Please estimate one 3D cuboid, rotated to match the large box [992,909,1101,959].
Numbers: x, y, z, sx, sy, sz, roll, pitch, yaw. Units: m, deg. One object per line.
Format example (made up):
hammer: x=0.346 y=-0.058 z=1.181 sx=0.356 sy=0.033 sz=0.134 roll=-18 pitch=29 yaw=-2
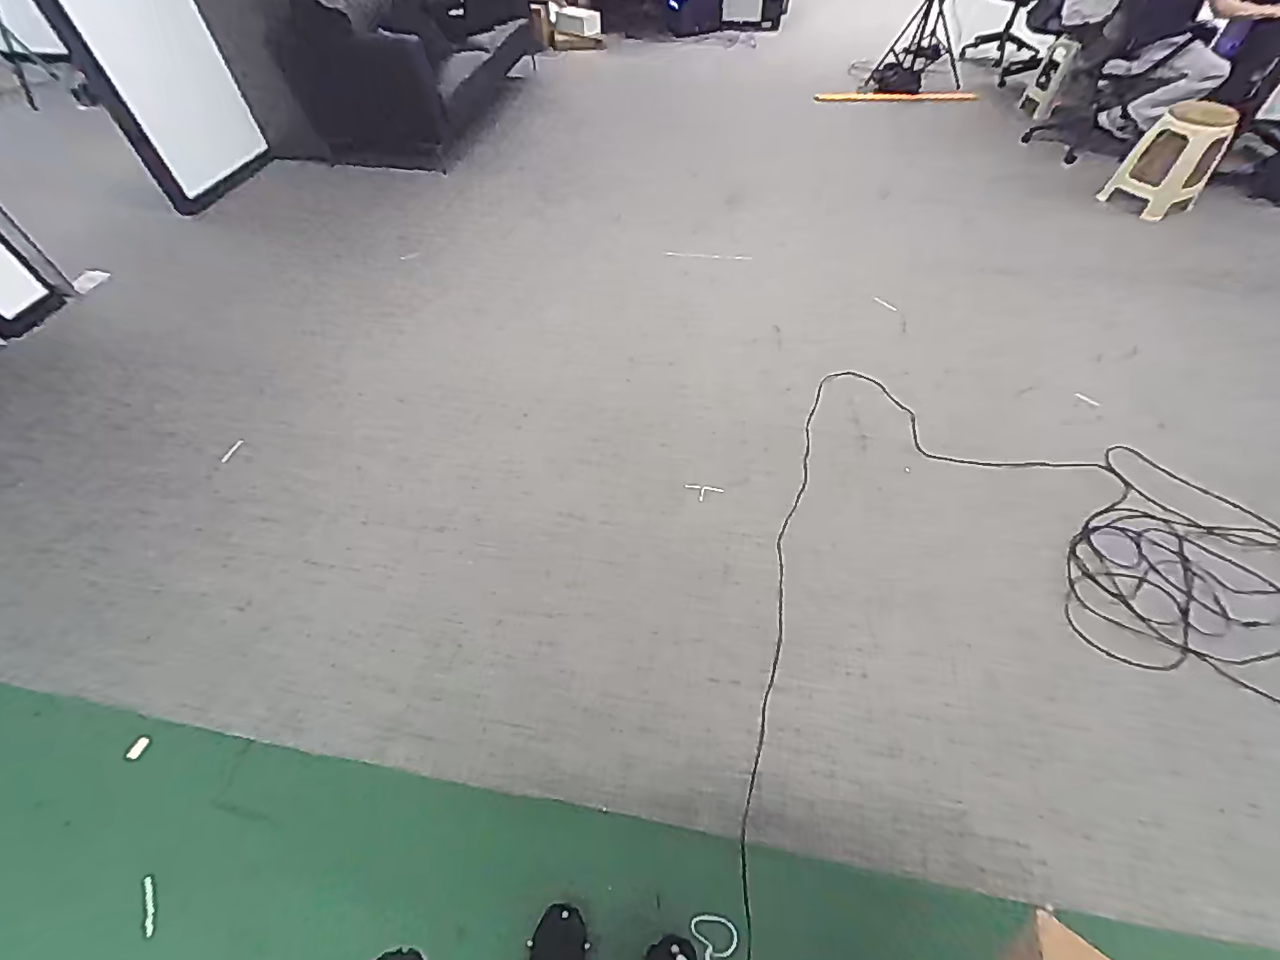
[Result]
large box: x=0.475 y=0.764 z=0.521 sx=0.320 sy=0.408 sz=0.320 roll=34 pitch=100 yaw=31
